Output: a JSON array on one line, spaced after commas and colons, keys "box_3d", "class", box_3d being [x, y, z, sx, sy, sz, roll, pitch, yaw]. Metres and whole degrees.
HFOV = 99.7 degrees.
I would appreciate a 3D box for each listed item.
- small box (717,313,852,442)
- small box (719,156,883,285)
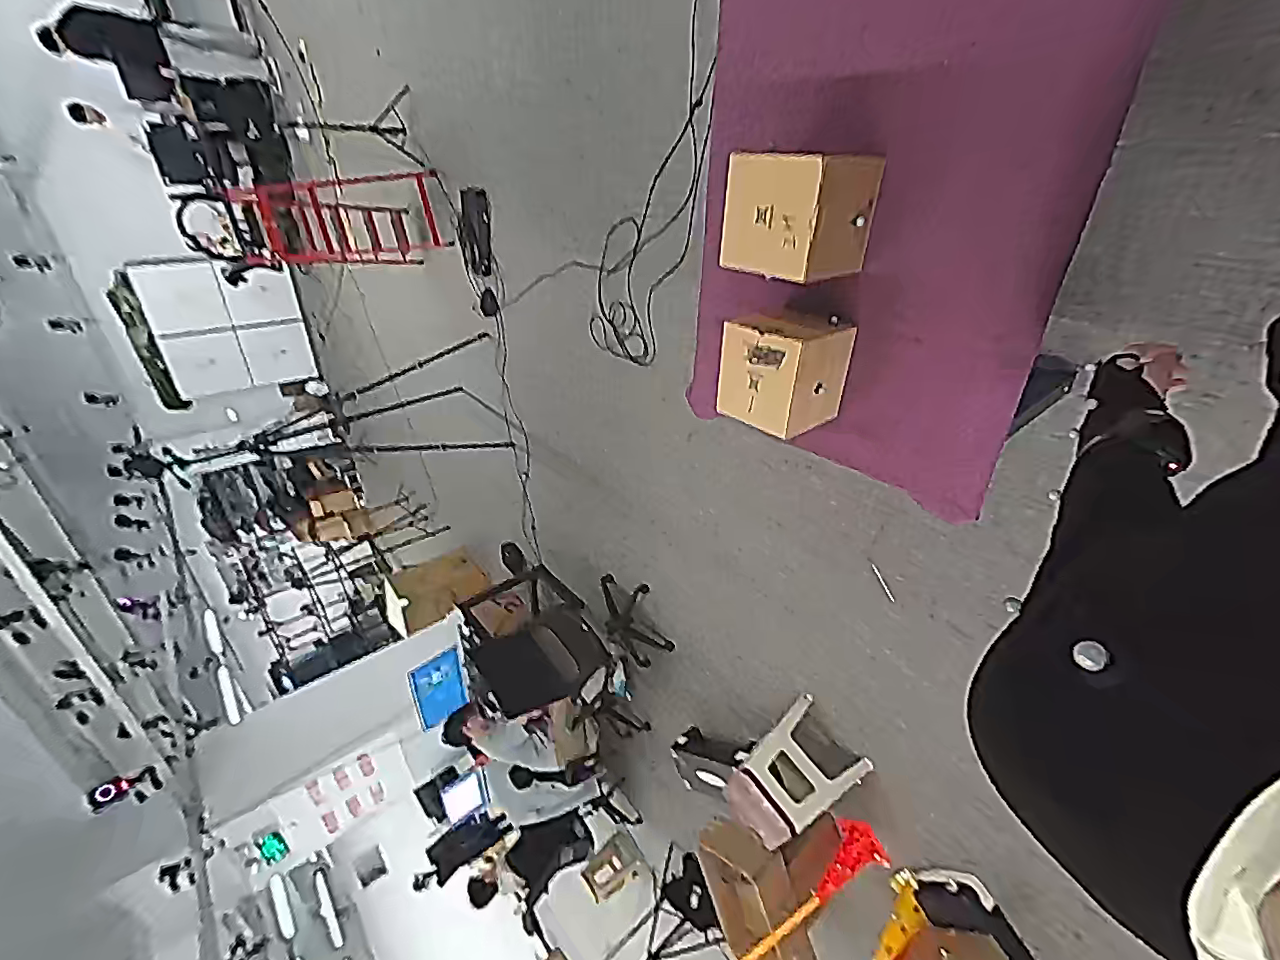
[{"box_3d": [0.265, -0.197, 0.994, 0.168, 0.176, 0.179, 31, 133, 40], "class": "small box"}, {"box_3d": [0.256, -0.425, 0.879, 0.179, 0.176, 0.168, 32, 132, 39], "class": "small box"}]
